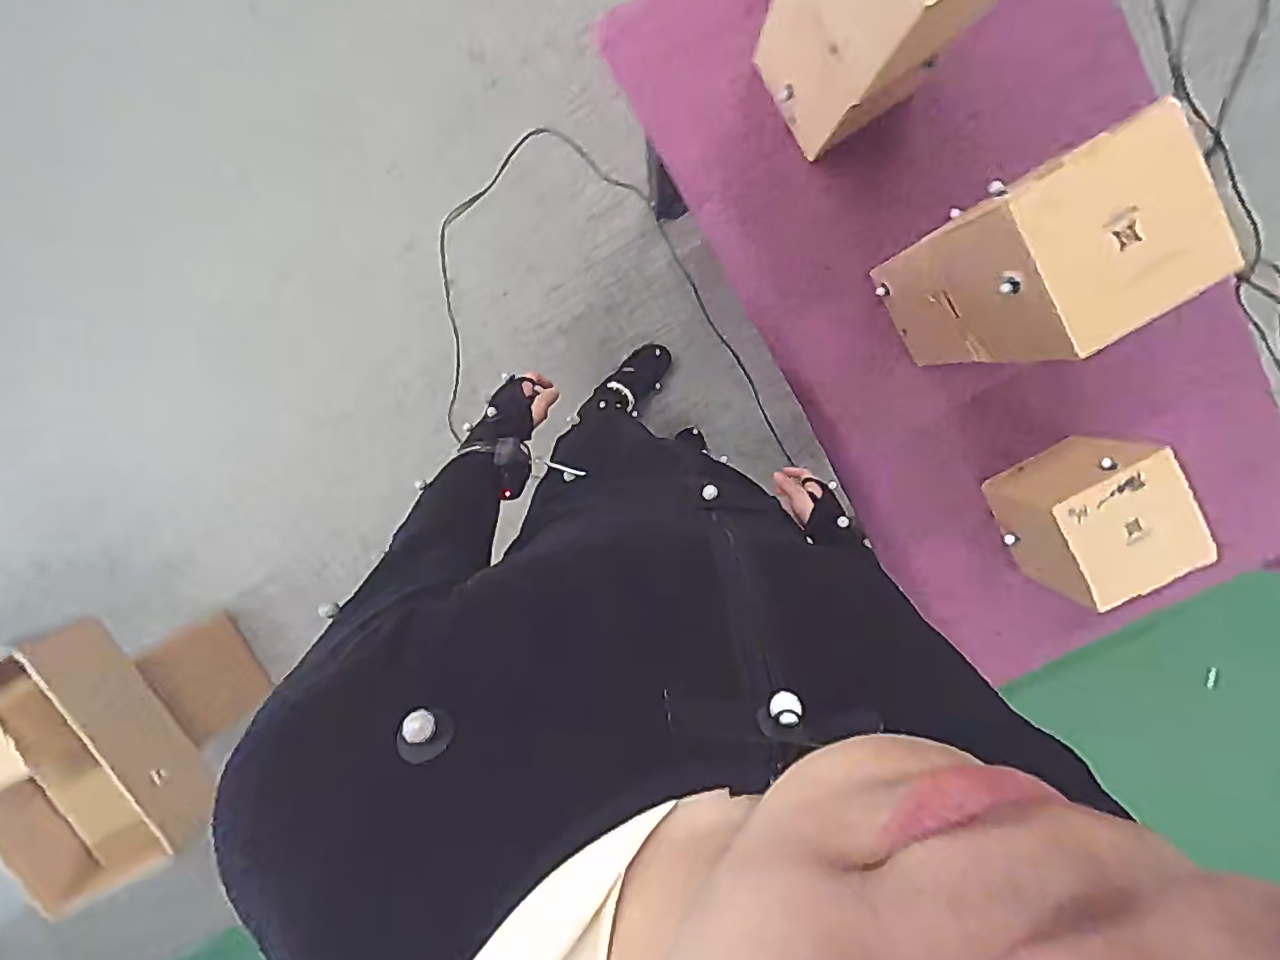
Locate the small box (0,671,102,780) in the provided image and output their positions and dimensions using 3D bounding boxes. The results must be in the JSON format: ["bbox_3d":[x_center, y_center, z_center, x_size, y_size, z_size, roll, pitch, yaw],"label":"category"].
[{"bbox_3d":[-1.463,0.589,1.283,0.179,0.176,0.168,-26,97,6],"label":"small box"}]

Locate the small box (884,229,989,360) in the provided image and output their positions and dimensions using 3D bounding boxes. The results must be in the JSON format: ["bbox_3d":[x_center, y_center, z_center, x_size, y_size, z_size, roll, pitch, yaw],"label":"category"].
[{"bbox_3d":[0.464,-0.277,0.740,0.179,0.176,0.168,-31,98,6],"label":"small box"}]

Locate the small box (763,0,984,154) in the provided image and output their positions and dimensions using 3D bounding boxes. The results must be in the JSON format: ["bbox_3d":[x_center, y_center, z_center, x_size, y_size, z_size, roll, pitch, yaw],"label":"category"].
[{"bbox_3d":[0.282,-0.568,0.693,0.179,0.176,0.168,-32,97,7],"label":"small box"}]

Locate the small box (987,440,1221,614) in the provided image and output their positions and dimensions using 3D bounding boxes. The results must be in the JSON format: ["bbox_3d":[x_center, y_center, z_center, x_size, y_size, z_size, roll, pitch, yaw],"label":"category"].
[{"bbox_3d":[0.660,0.057,0.791,0.168,0.176,0.179,-29,98,6],"label":"small box"}]

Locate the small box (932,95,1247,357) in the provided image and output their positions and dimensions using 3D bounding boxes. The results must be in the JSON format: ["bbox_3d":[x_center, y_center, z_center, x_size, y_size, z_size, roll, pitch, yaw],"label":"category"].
[{"bbox_3d":[0.455,-0.247,0.580,0.168,0.176,0.179,-30,98,8],"label":"small box"}]
